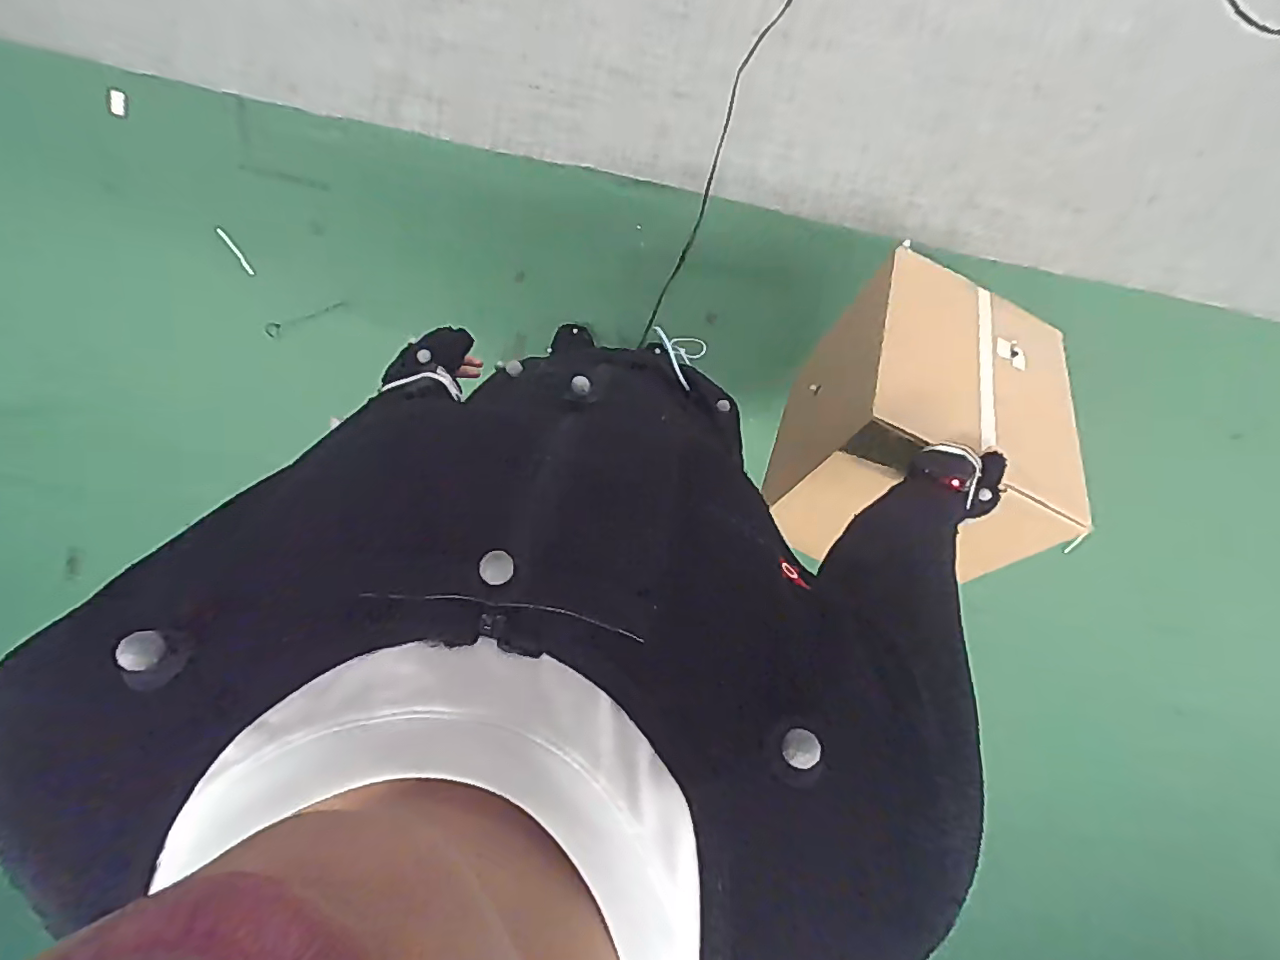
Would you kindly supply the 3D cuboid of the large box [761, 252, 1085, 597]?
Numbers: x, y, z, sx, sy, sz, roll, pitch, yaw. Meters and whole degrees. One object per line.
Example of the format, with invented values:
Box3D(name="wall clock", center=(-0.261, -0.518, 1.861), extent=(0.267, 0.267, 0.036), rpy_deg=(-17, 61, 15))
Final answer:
Box3D(name="large box", center=(0.438, -0.082, 0.894), extent=(0.320, 0.408, 0.320), rpy_deg=(27, 145, -4))
